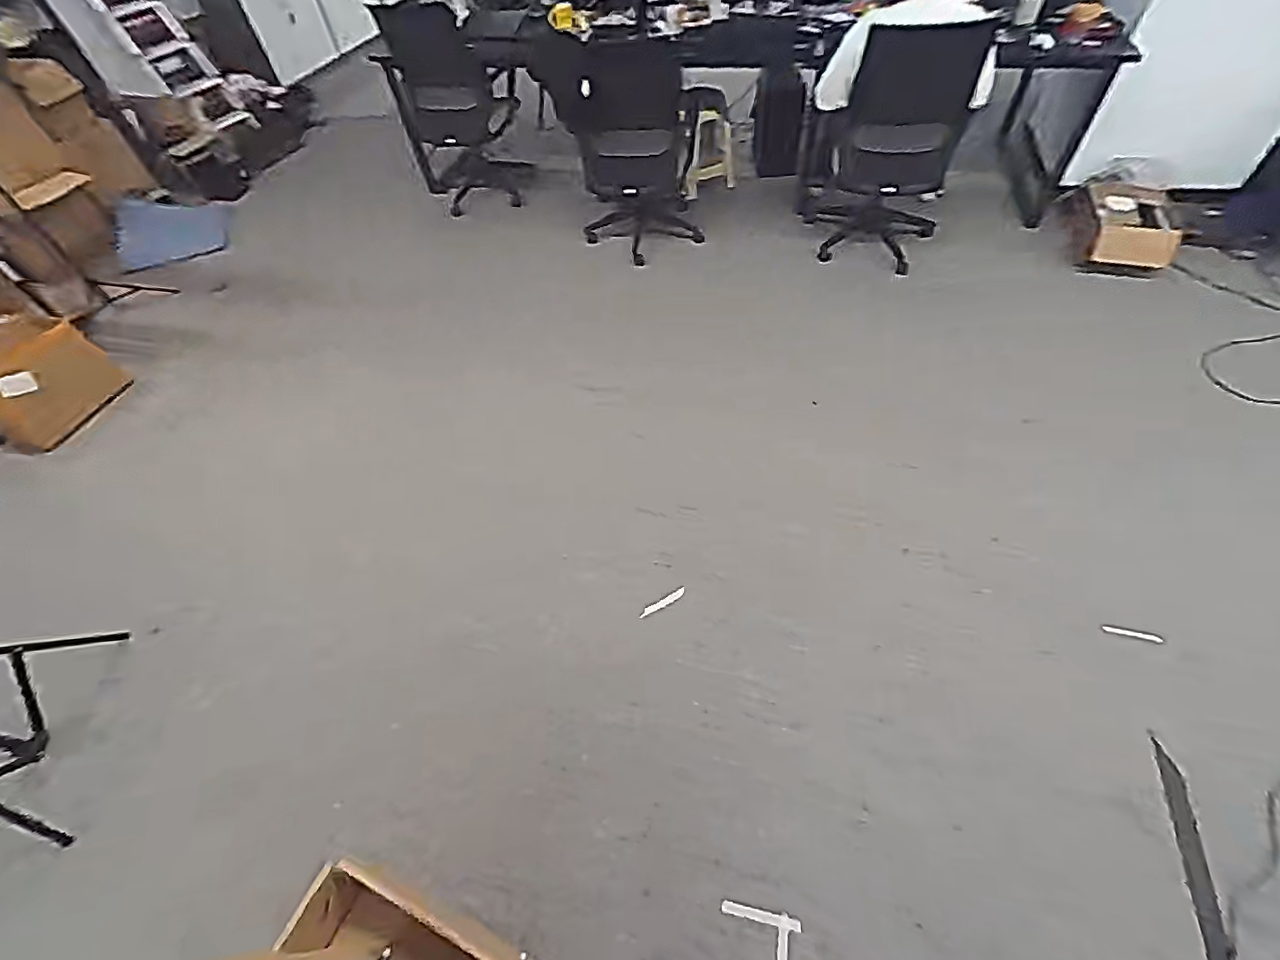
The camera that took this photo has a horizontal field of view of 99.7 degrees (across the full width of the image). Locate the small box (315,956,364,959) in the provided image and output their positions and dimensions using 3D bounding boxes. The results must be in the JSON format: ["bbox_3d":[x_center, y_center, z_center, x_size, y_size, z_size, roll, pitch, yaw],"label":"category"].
[{"bbox_3d":[-0.383,0.711,0.640,0.168,0.176,0.179,14,56,16],"label":"small box"}]
